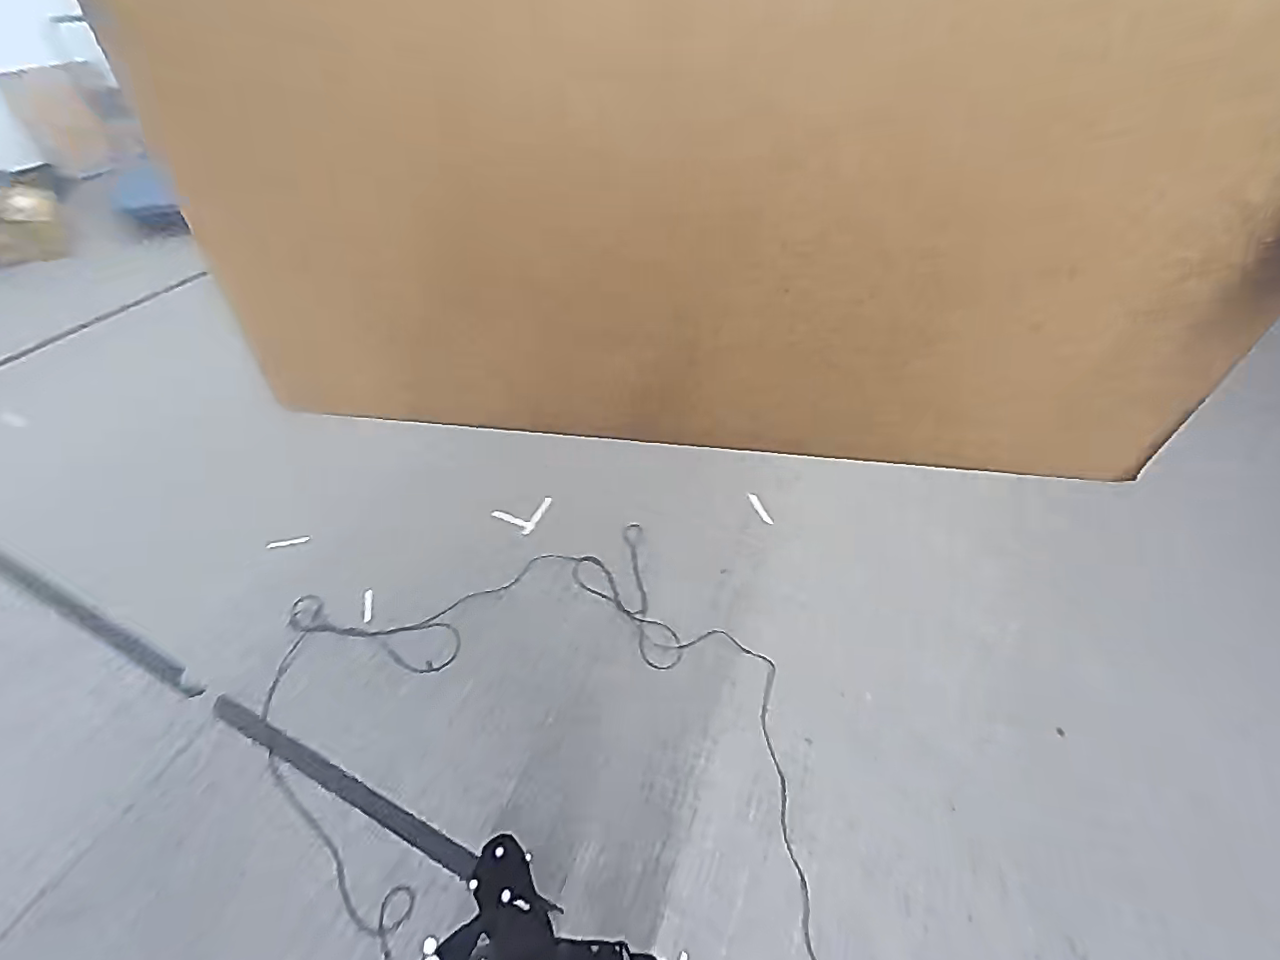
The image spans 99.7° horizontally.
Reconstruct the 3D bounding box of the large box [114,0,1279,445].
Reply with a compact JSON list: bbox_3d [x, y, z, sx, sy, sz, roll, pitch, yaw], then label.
[{"bbox_3d":[0.041,-0.239,0.269,0.408,0.320,0.320,5,43,-1],"label":"large box"}]
